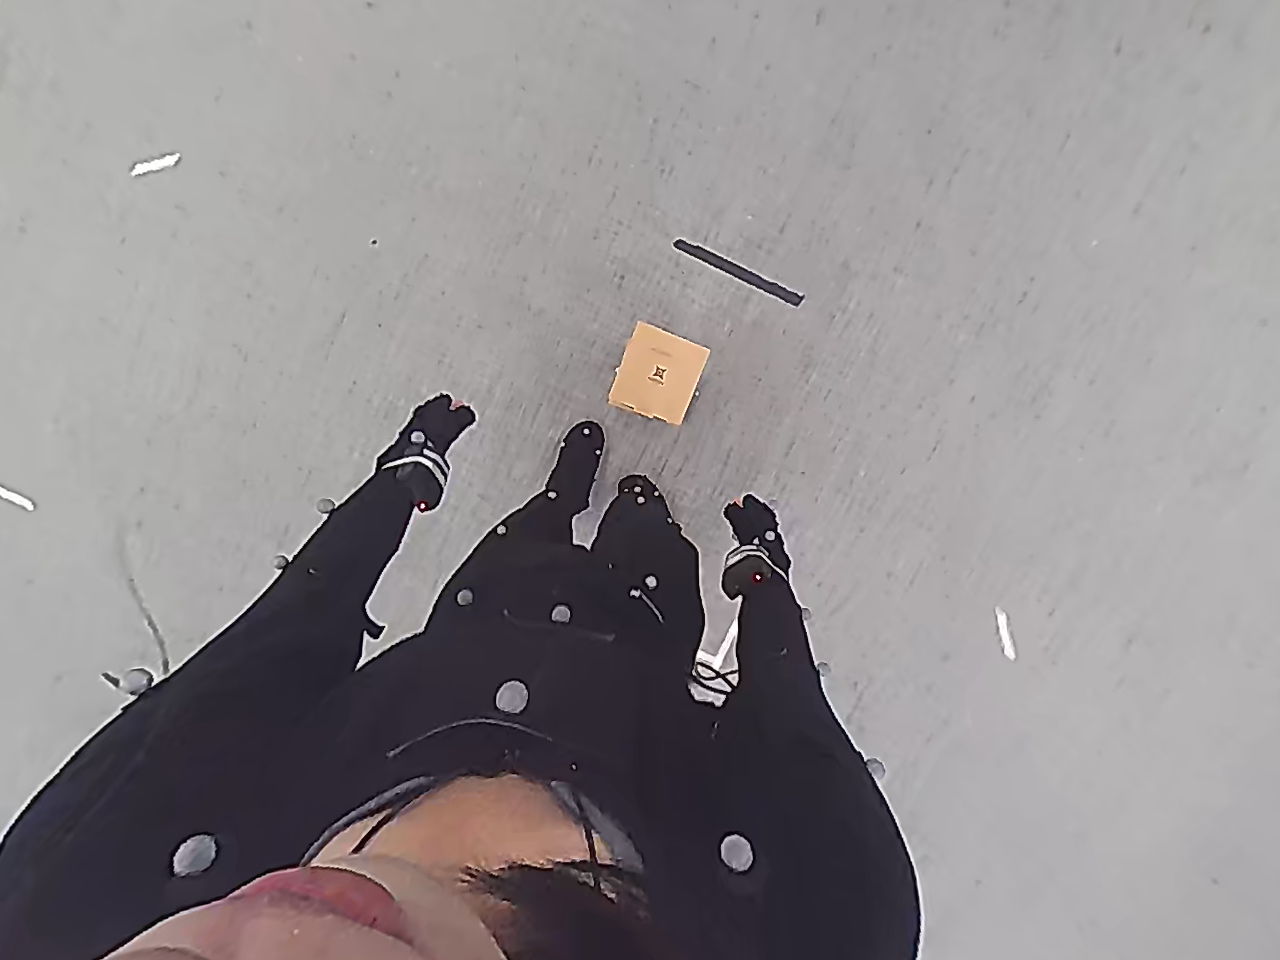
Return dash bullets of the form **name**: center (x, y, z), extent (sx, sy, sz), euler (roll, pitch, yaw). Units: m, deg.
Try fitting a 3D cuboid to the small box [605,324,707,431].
- **small box**: center (0.033, -0.222, 1.202), extent (0.168, 0.176, 0.179), euler (22, 96, -3)
